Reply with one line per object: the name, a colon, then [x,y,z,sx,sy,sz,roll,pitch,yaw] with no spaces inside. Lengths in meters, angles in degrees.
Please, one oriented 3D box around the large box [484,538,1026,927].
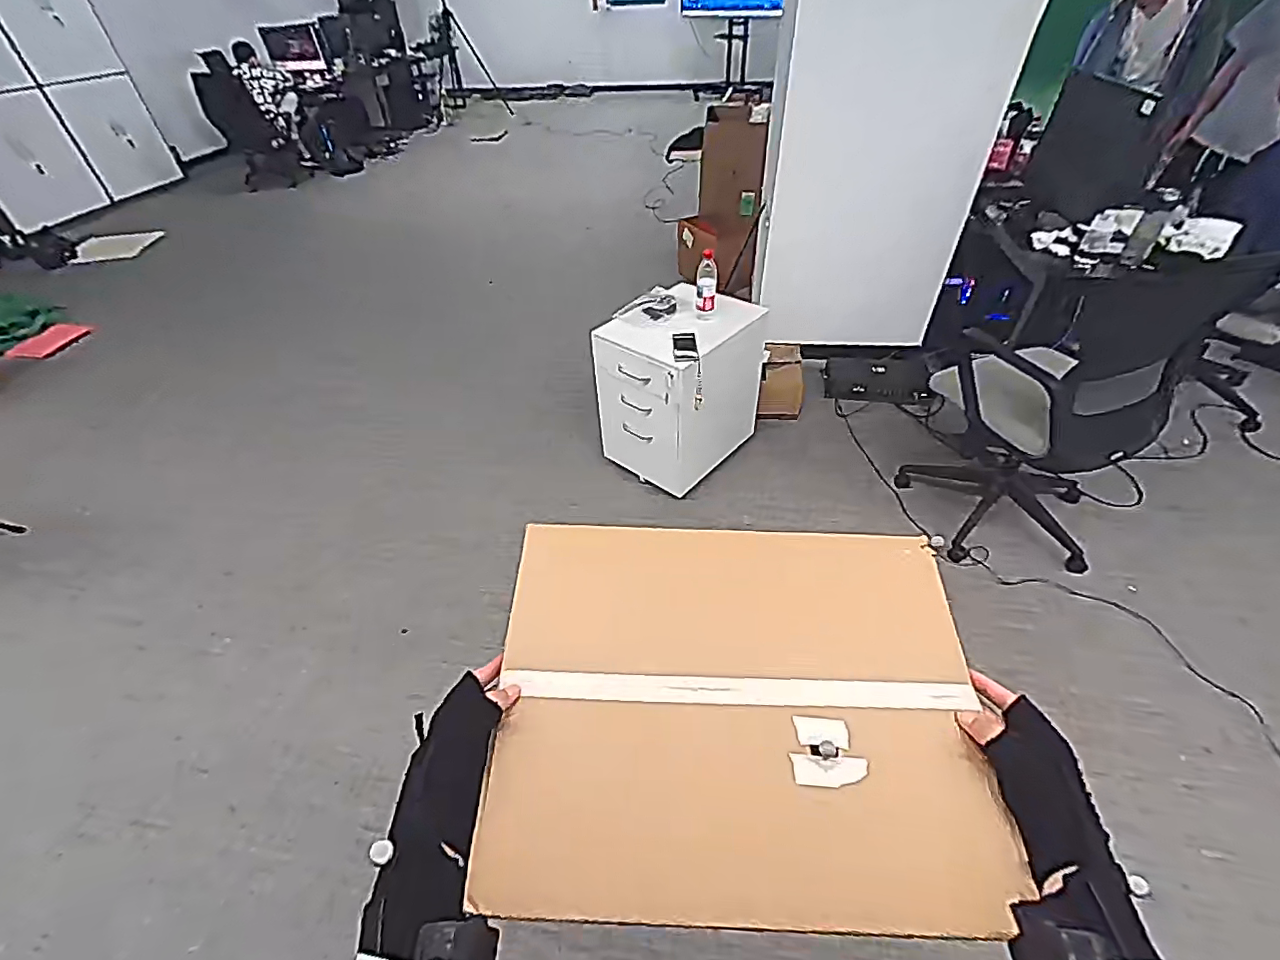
large box: [0.082,0.274,0.595,0.408,0.320,0.320,2,56,0]
